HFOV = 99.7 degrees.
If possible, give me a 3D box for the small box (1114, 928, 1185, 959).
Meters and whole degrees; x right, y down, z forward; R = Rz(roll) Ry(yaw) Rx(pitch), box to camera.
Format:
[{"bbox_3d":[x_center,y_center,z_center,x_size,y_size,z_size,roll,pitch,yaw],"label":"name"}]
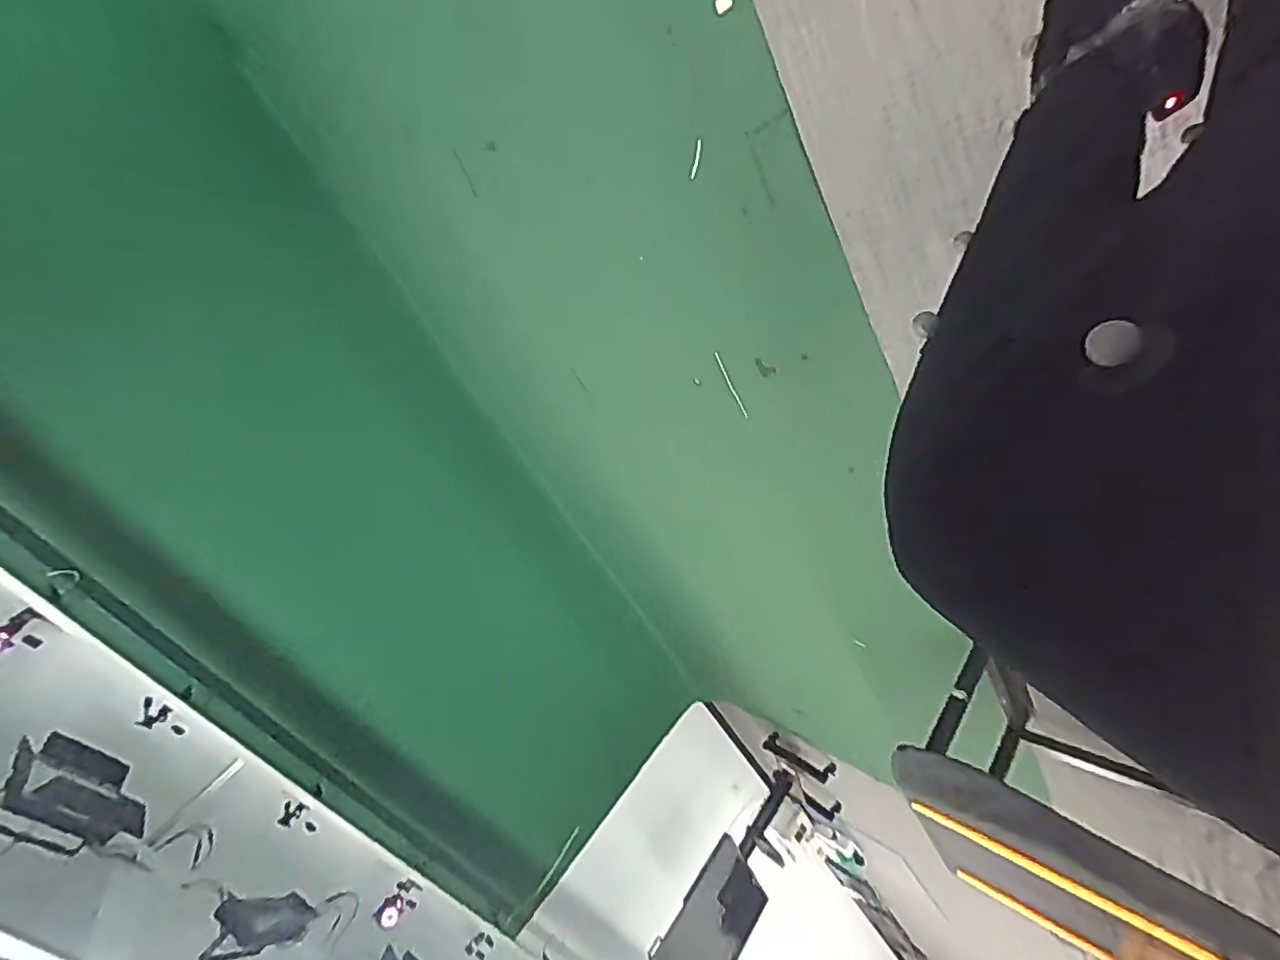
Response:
[{"bbox_3d":[1.310,1.291,1.353,0.168,0.176,0.179,-1,130,55],"label":"small box"}]
